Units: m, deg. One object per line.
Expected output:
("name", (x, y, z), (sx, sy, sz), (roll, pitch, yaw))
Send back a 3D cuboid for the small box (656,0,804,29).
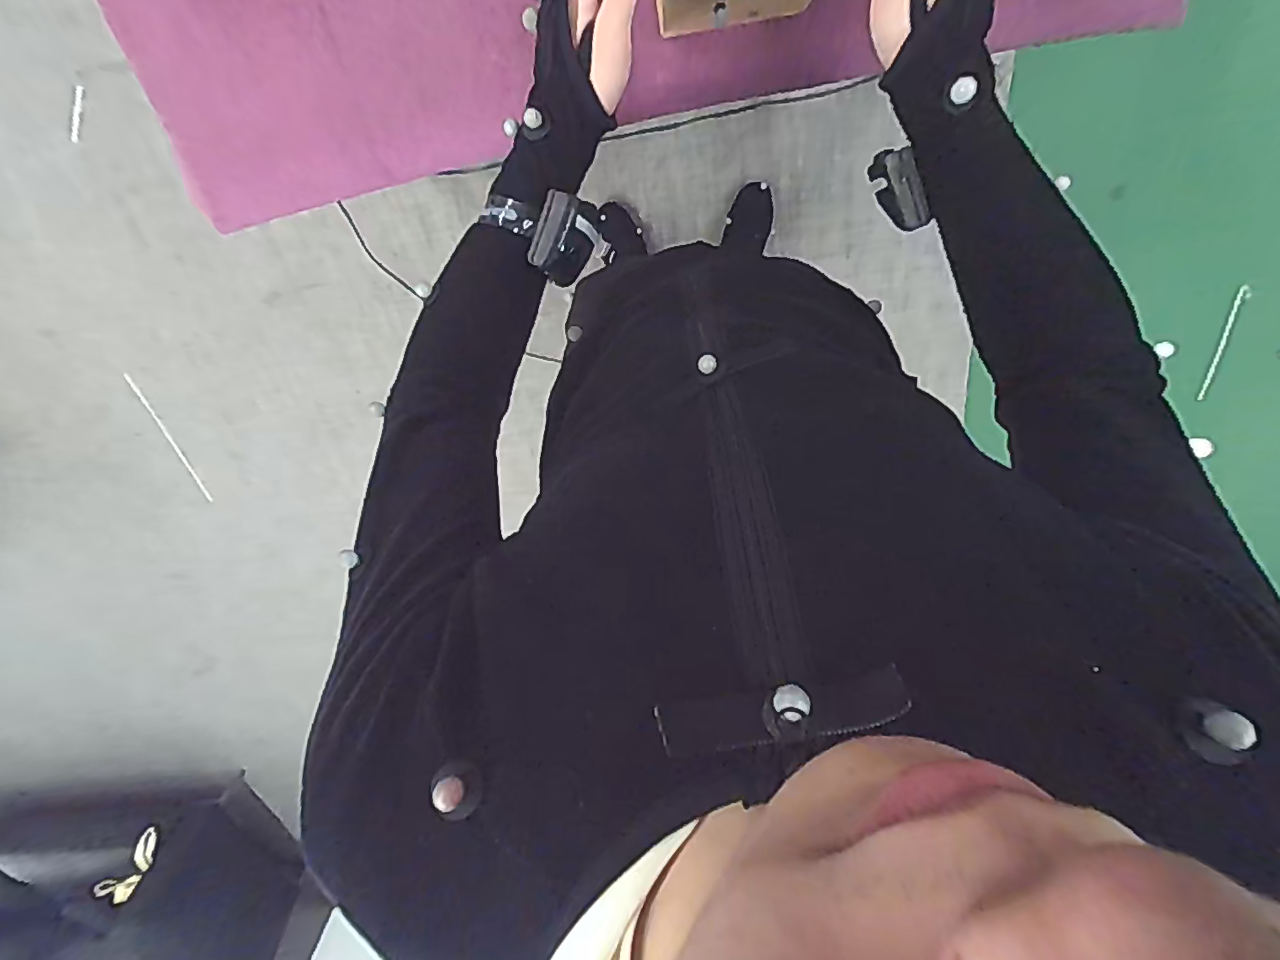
("small box", (0.090, -0.563, 0.516), (0.168, 0.176, 0.179), (-5, 118, 7))
